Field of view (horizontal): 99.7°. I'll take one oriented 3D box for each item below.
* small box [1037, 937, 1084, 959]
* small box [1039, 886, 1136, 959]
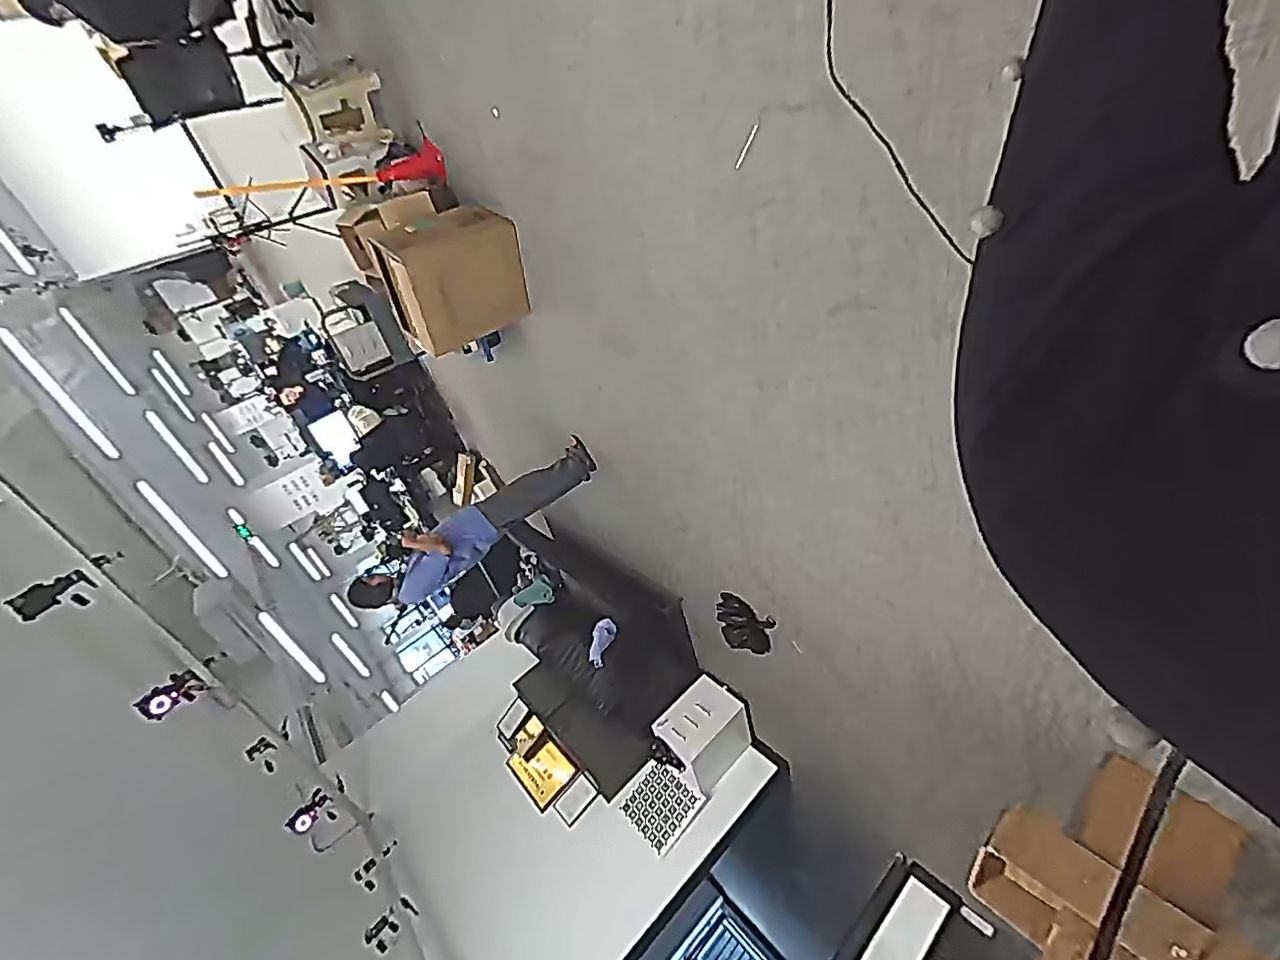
[{"bbox_3d":[1.190,1.430,1.500,0.168,0.176,0.179,26,141,46],"label":"small box"},{"bbox_3d":[1.305,1.342,1.576,0.168,0.176,0.179,25,143,46],"label":"small box"}]
